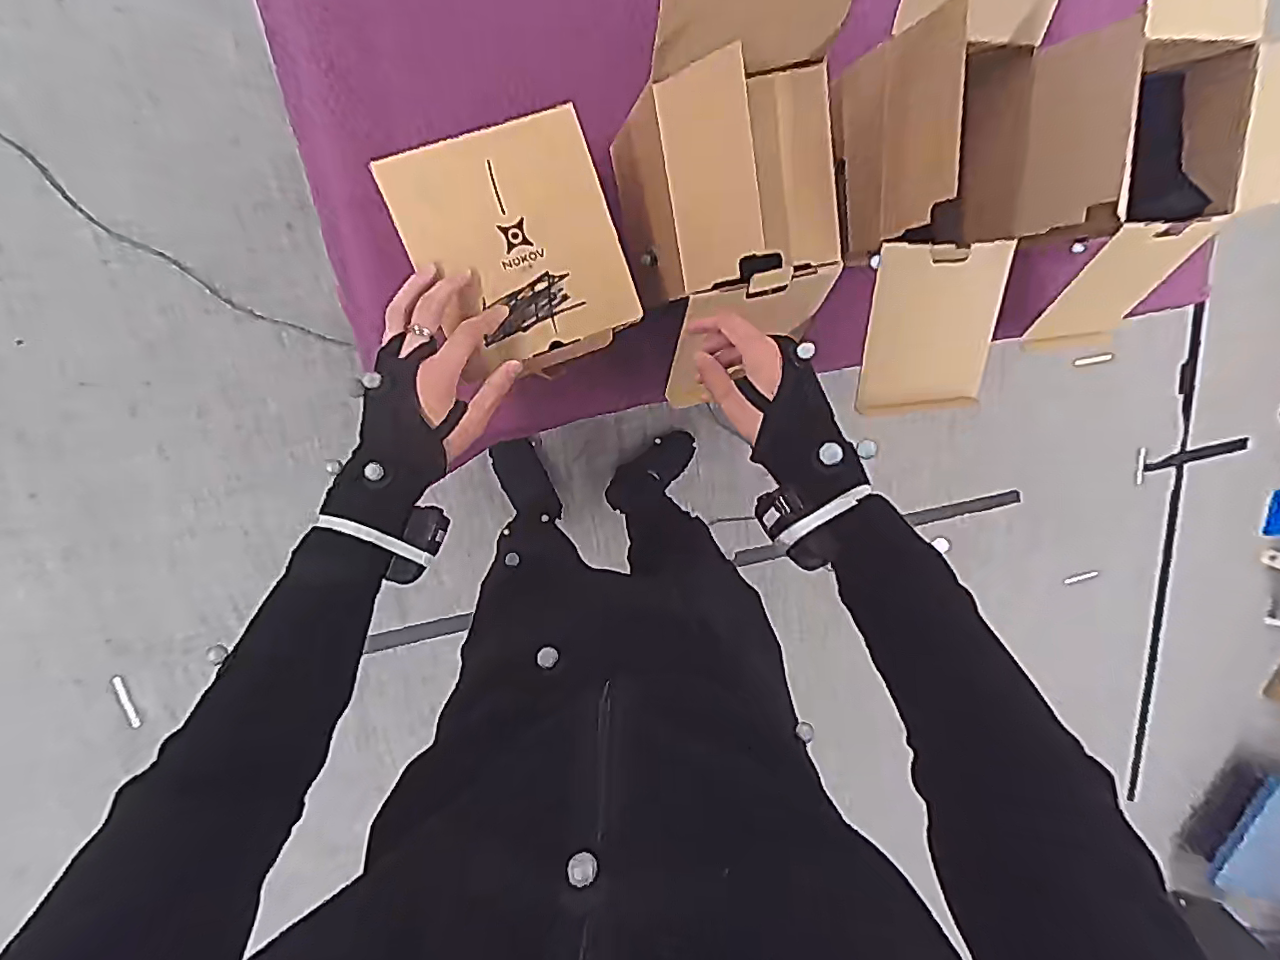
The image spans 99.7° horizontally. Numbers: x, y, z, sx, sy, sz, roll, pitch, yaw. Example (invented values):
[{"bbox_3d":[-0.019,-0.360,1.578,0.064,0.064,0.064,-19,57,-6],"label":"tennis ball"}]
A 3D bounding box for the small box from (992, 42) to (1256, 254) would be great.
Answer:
[{"bbox_3d":[0.564,-0.384,0.655,0.168,0.176,0.179,-8,106,-12],"label":"small box"}]
